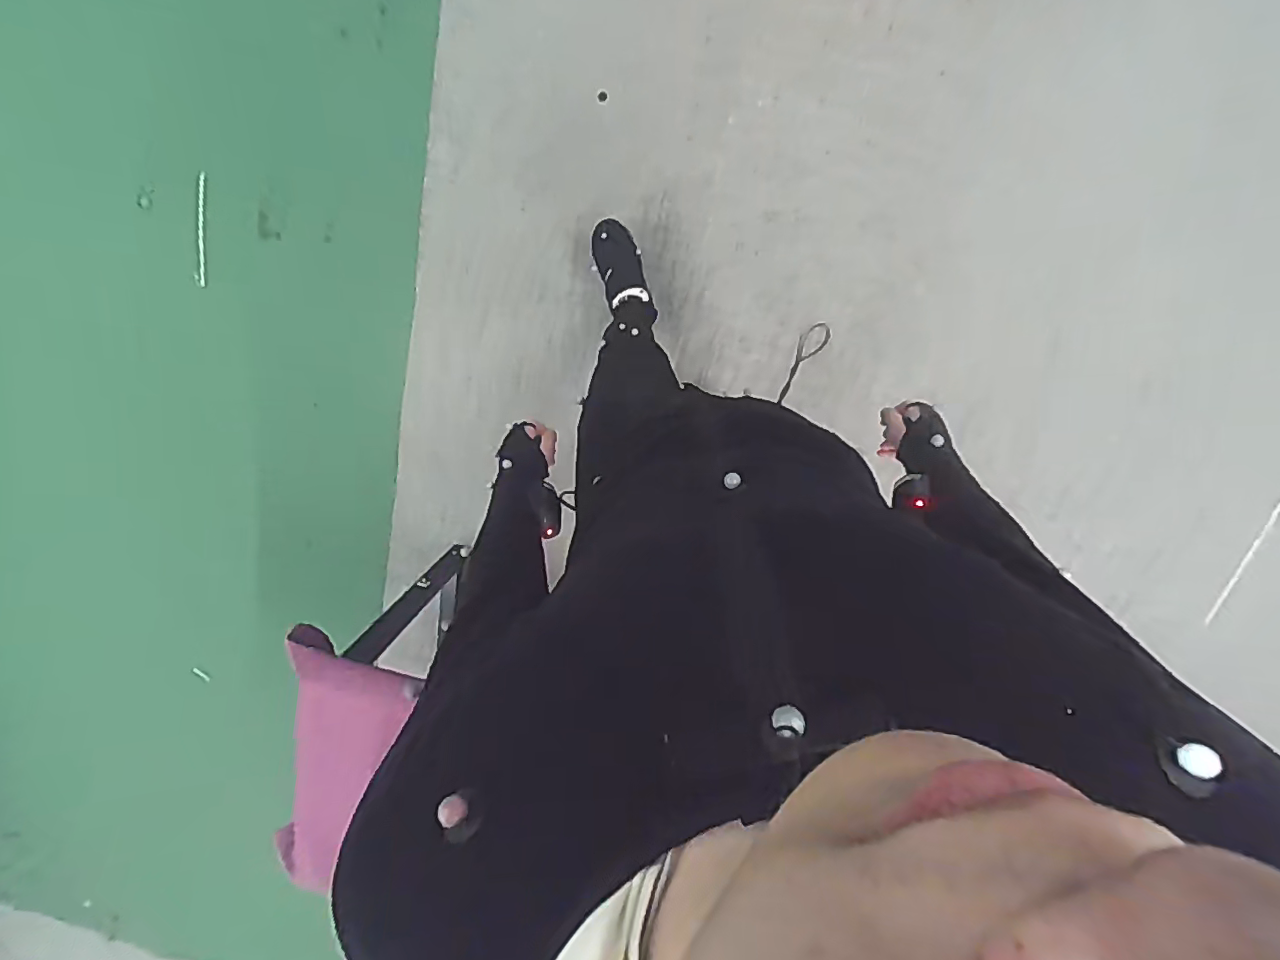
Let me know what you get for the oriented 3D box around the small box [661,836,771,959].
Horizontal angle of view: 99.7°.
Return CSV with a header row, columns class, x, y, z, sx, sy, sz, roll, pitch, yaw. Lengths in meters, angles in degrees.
class,x,y,z,sx,sy,sz,roll,pitch,yaw
small box,0.144,0.843,1.046,0.168,0.176,0.179,13,107,2
